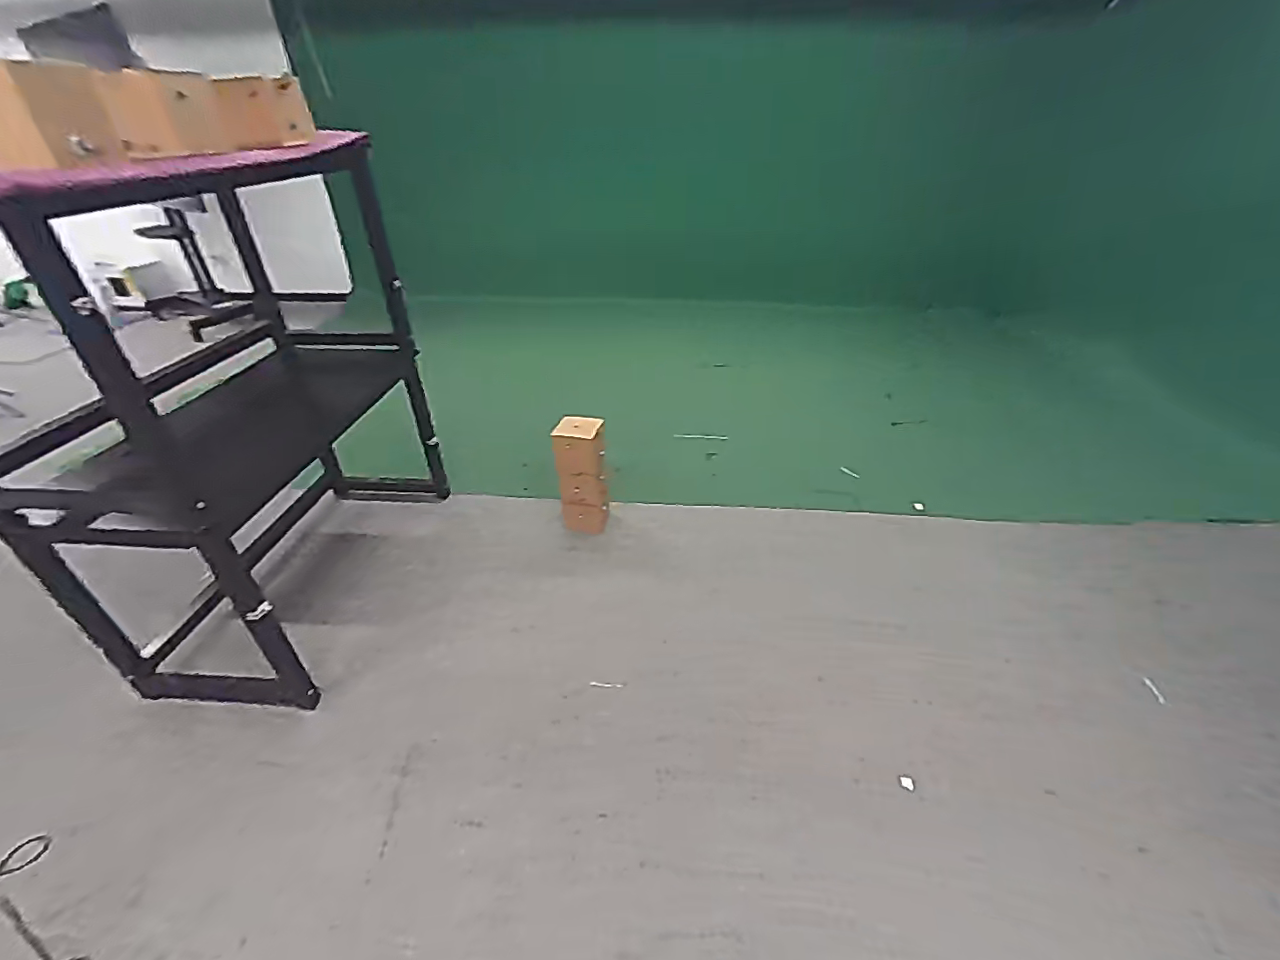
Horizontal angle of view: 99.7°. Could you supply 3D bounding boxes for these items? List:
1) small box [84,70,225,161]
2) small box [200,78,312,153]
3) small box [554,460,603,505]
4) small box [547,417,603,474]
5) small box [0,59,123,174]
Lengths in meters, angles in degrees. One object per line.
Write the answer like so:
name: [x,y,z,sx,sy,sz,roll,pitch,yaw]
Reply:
small box: [-1.152,-0.865,1.291,0.168,0.176,0.179,1,33,5]
small box: [-1.116,-1.067,1.587,0.179,0.176,0.168,2,35,8]
small box: [-0.257,-0.010,2.320,0.168,0.176,0.179,5,35,10]
small box: [-0.261,-0.141,2.217,0.179,0.176,0.168,7,35,12]
small box: [-1.142,-0.668,1.001,0.179,0.176,0.168,1,35,0]
